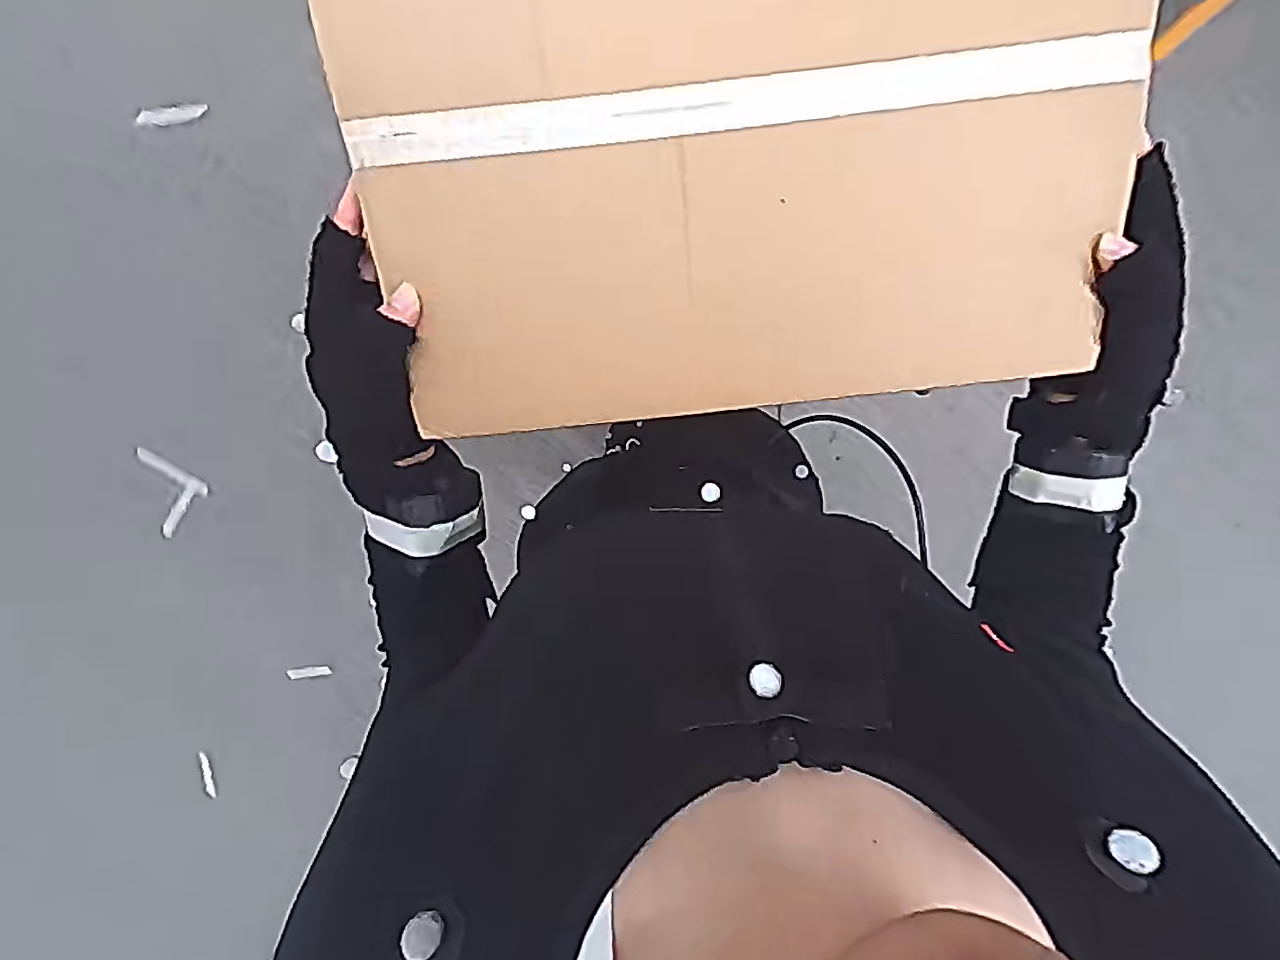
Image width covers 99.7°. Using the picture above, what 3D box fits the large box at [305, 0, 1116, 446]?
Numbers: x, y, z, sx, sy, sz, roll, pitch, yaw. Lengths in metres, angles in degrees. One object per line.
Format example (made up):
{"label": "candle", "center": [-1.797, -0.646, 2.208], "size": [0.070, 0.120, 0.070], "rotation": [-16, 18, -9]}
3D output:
{"label": "large box", "center": [0.039, -0.242, 0.422], "size": [0.408, 0.320, 0.320], "rotation": [-7, 110, 1]}
